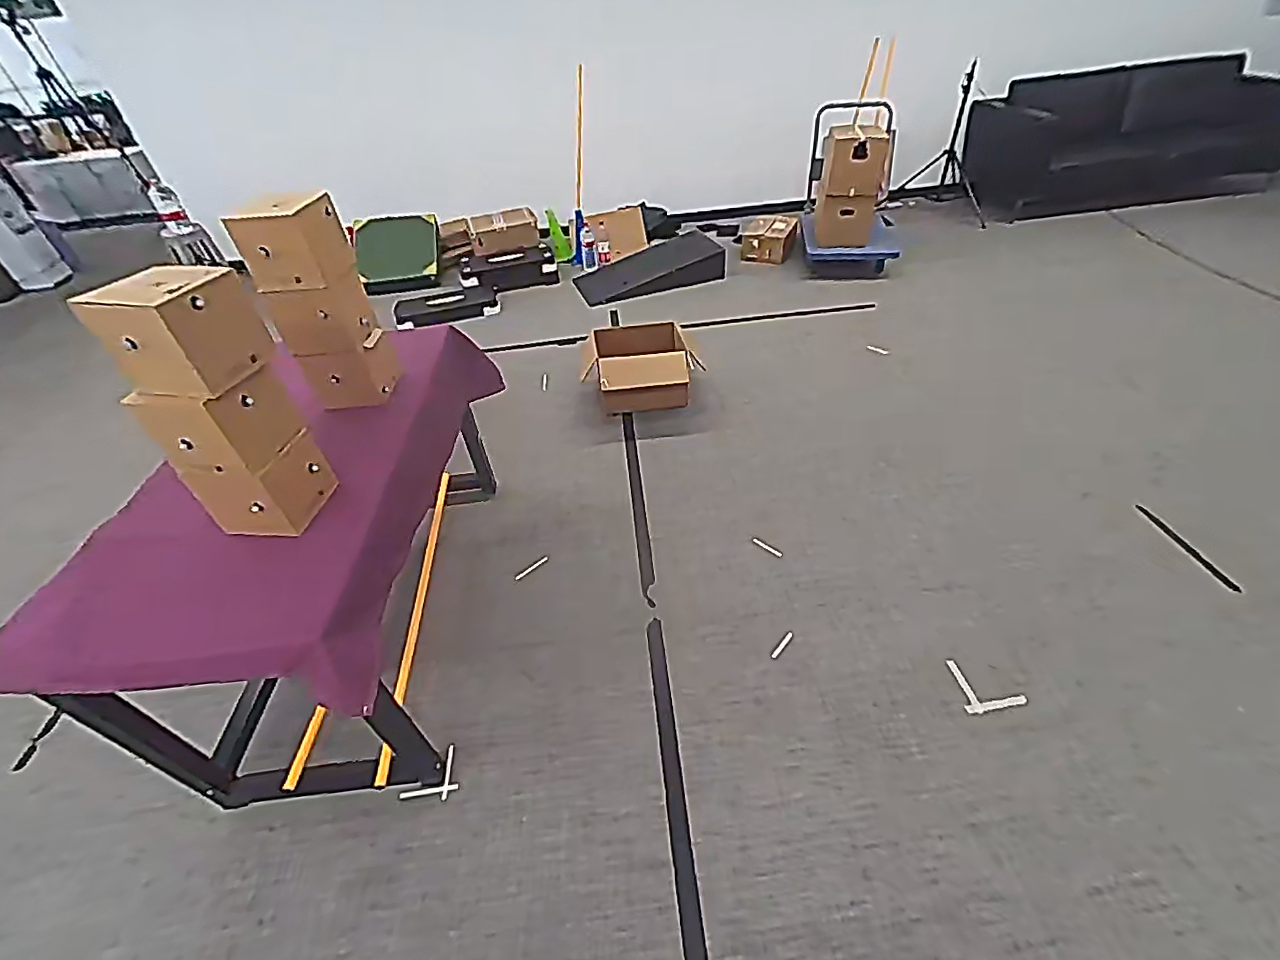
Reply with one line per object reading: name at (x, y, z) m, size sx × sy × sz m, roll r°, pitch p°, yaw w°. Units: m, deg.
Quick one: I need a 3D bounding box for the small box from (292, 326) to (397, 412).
small box at (-0.799, -0.304, 1.489) m, size 0.179 × 0.176 × 0.168 m, roll -5°, pitch 42°, yaw 2°

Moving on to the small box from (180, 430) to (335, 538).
small box at (-0.792, 0.009, 1.145) m, size 0.179 × 0.176 × 0.168 m, roll 1°, pitch 42°, yaw 7°

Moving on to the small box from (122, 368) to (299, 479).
small box at (-0.805, -0.117, 1.041) m, size 0.168 × 0.176 × 0.179 m, roll 2°, pitch 41°, yaw 7°

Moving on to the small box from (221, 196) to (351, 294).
small box at (-0.818, -0.550, 1.275) m, size 0.168 × 0.176 × 0.179 m, roll -3°, pitch 42°, yaw 3°

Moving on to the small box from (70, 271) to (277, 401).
small box at (-0.796, -0.252, 0.945) m, size 0.179 × 0.176 × 0.168 m, roll 5°, pitch 42°, yaw 12°
